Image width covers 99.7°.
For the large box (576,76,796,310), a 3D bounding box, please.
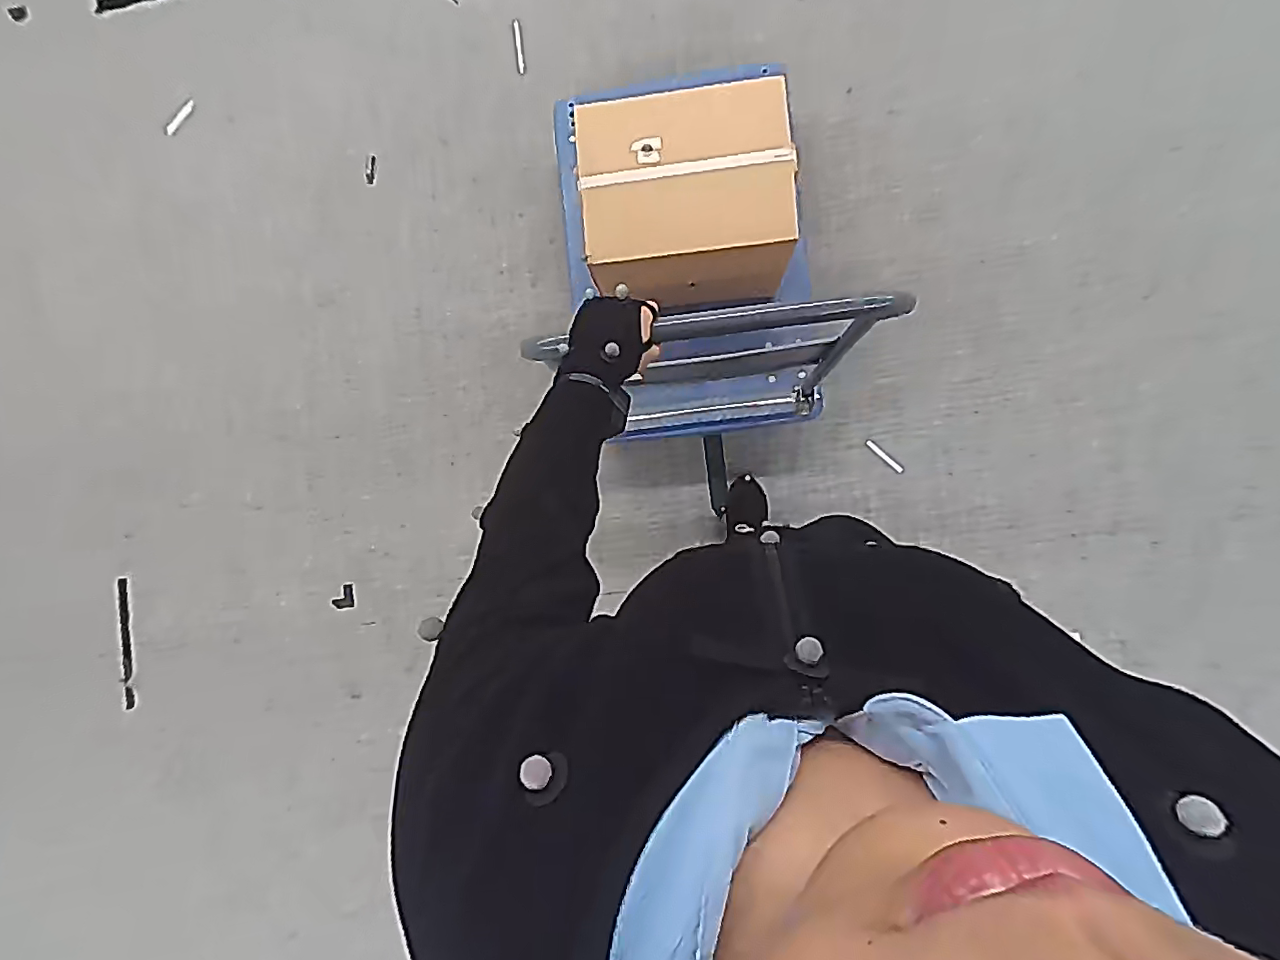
[{"bbox_3d":[0.103,-0.591,1.185,0.408,0.320,0.320,-5,88,7],"label":"large box"}]
